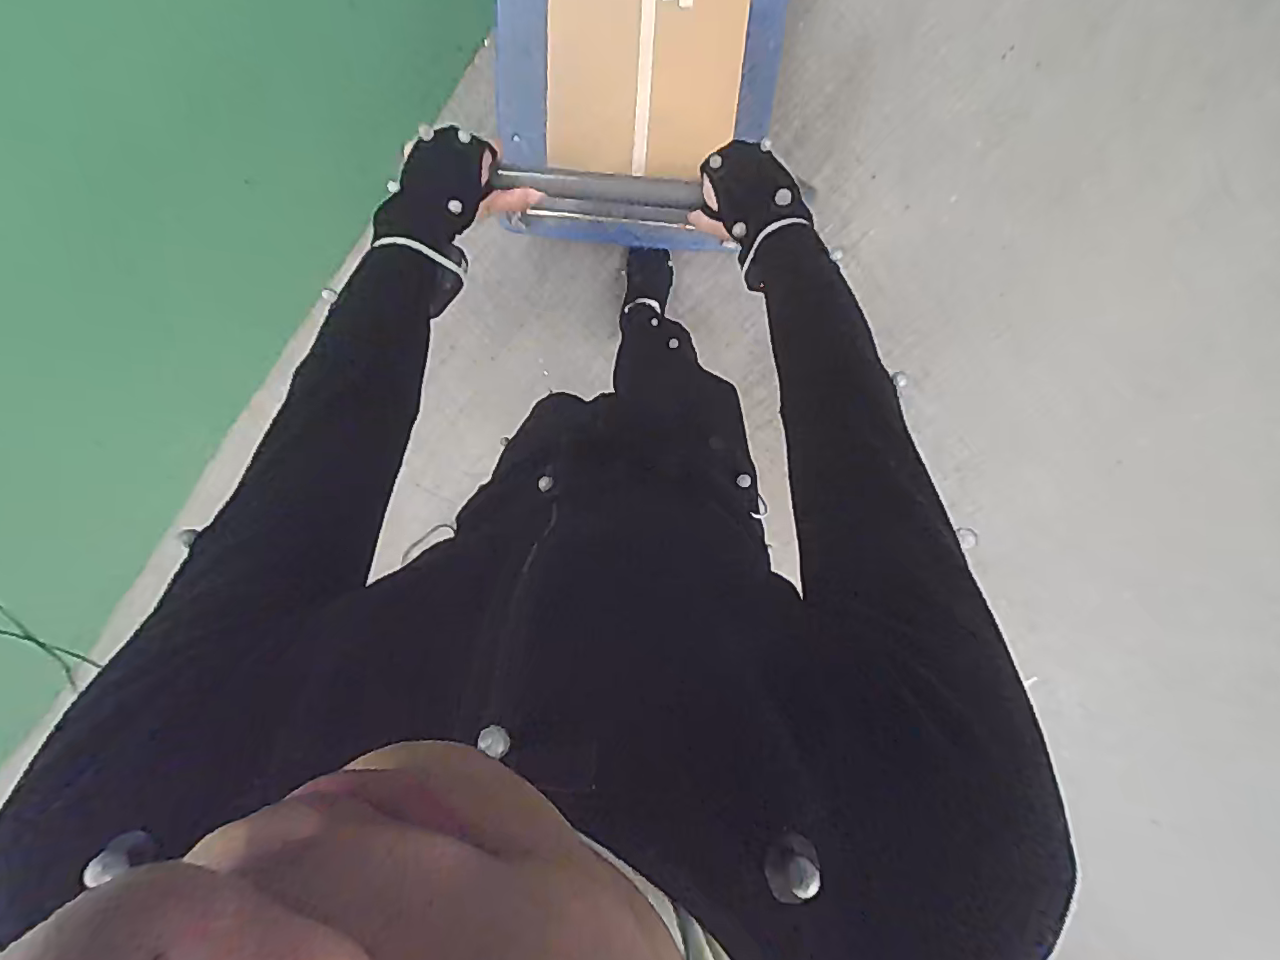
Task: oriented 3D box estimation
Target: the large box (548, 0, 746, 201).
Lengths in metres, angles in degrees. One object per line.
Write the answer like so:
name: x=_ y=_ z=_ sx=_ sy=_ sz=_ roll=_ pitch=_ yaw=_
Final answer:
large box: x=0.015 y=-0.765 z=1.005 sx=0.320 sy=0.320 sz=0.408 roll=5 pitch=112 yaw=0
